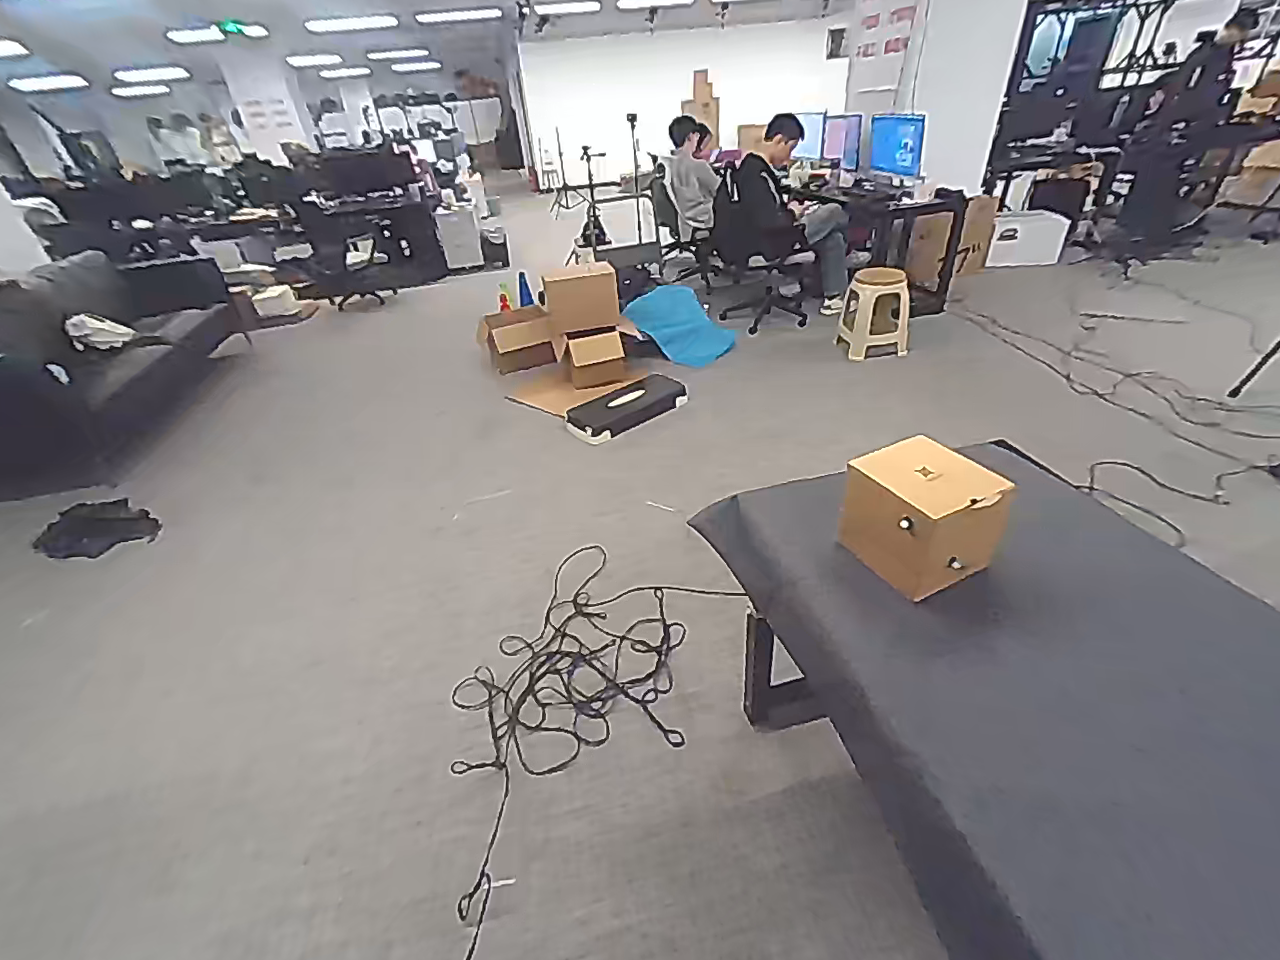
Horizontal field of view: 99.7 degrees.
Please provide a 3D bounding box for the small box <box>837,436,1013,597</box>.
[{"bbox_3d":[0.447,0.056,0.879,0.168,0.176,0.179,-19,37,-19],"label":"small box"}]
